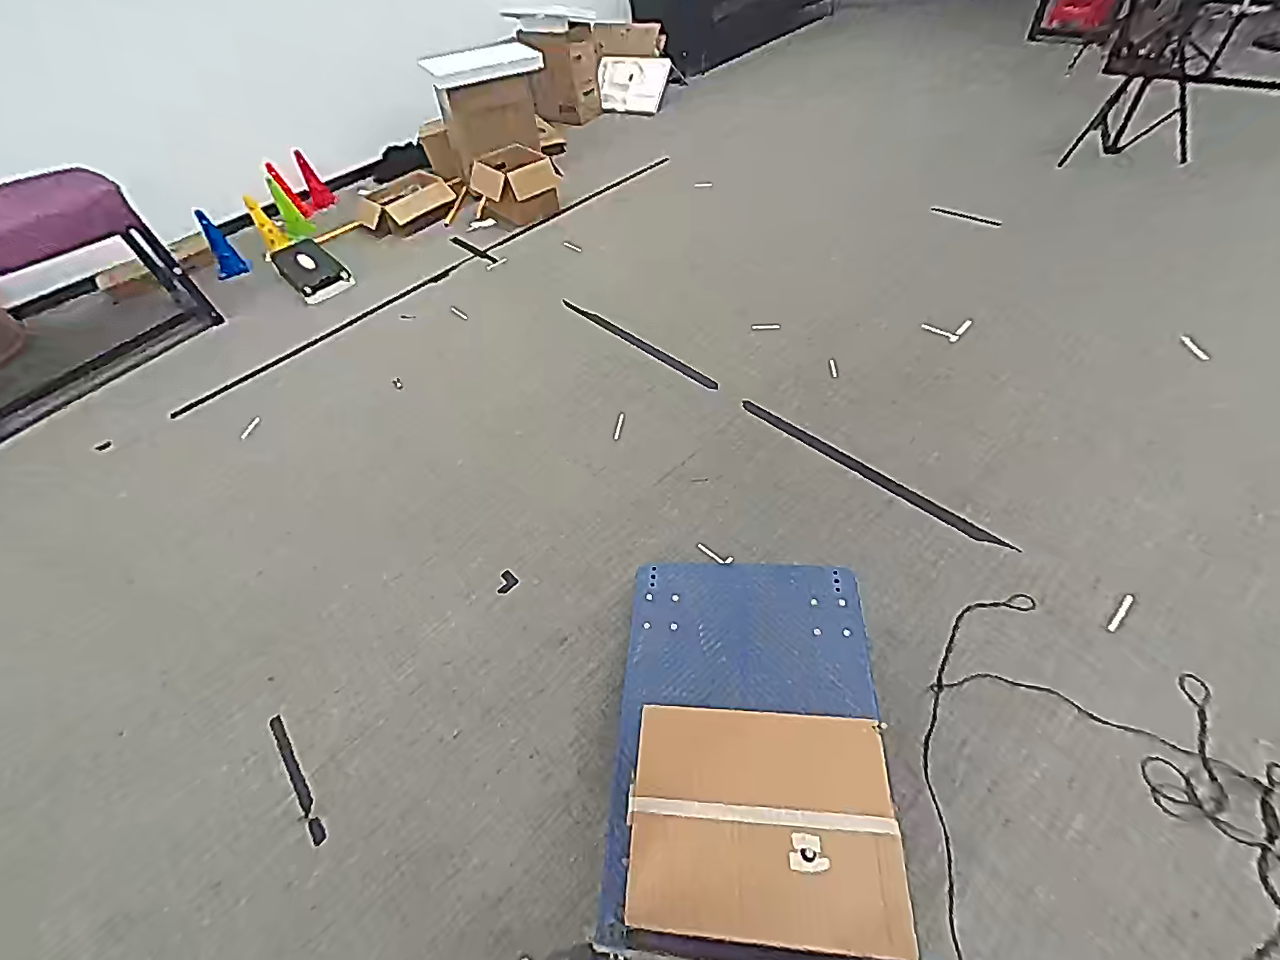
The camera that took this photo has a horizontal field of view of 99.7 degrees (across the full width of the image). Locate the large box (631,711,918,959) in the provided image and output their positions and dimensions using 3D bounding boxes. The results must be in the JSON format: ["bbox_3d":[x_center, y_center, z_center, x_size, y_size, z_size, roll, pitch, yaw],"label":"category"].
[{"bbox_3d":[0.206,0.627,0.961,0.408,0.320,0.320,0,51,7],"label":"large box"}]
